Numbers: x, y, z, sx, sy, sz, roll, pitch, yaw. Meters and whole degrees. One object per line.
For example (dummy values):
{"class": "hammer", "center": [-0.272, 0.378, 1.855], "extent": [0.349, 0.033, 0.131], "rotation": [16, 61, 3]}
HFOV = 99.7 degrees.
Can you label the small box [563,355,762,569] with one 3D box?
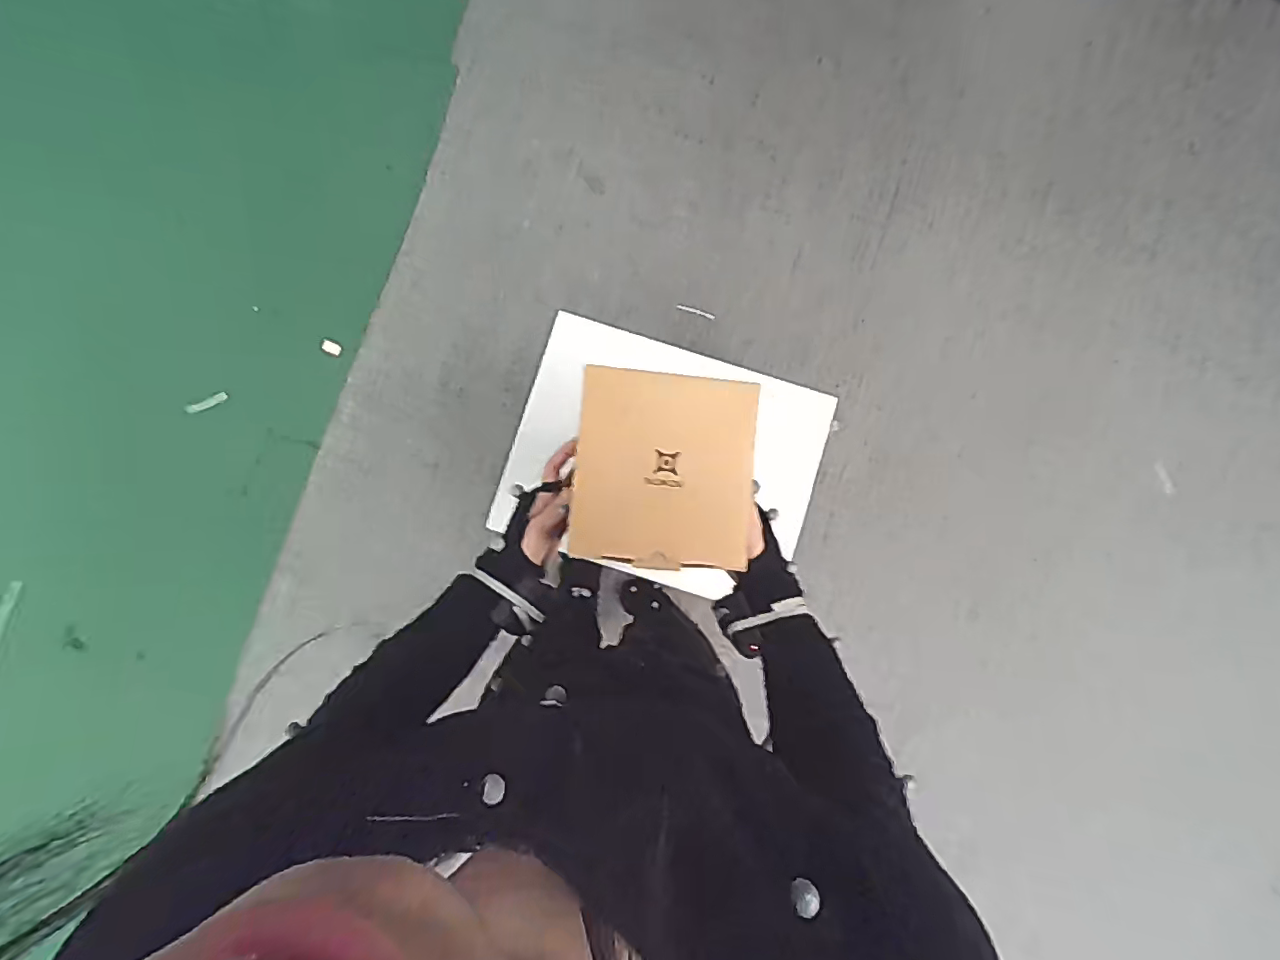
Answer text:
{"class": "small box", "center": [0.014, -0.012, 0.547], "extent": [0.168, 0.176, 0.179], "rotation": [5, 88, -5]}
